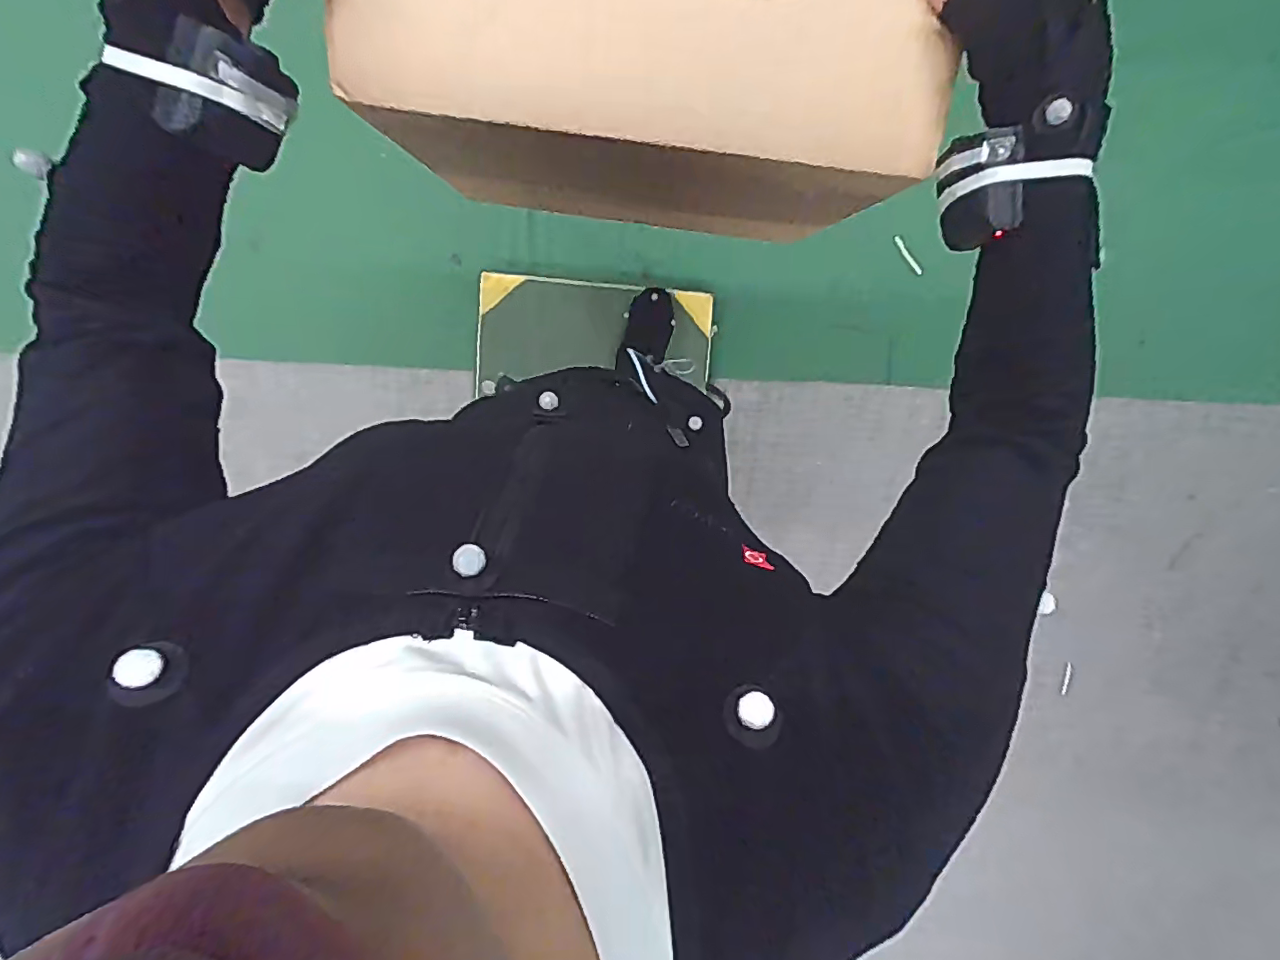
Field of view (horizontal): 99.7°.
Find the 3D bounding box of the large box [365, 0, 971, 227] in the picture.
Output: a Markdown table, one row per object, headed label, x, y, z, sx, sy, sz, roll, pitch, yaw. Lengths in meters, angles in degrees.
| label | x | y | z | sx | sy | sz | roll | pitch | yaw |
| --- | --- | --- | --- | --- | --- | --- | --- | --- | --- |
| large box | 0.022 | -0.431 | 0.474 | 0.408 | 0.320 | 0.320 | 5 | 107 | -4 |
